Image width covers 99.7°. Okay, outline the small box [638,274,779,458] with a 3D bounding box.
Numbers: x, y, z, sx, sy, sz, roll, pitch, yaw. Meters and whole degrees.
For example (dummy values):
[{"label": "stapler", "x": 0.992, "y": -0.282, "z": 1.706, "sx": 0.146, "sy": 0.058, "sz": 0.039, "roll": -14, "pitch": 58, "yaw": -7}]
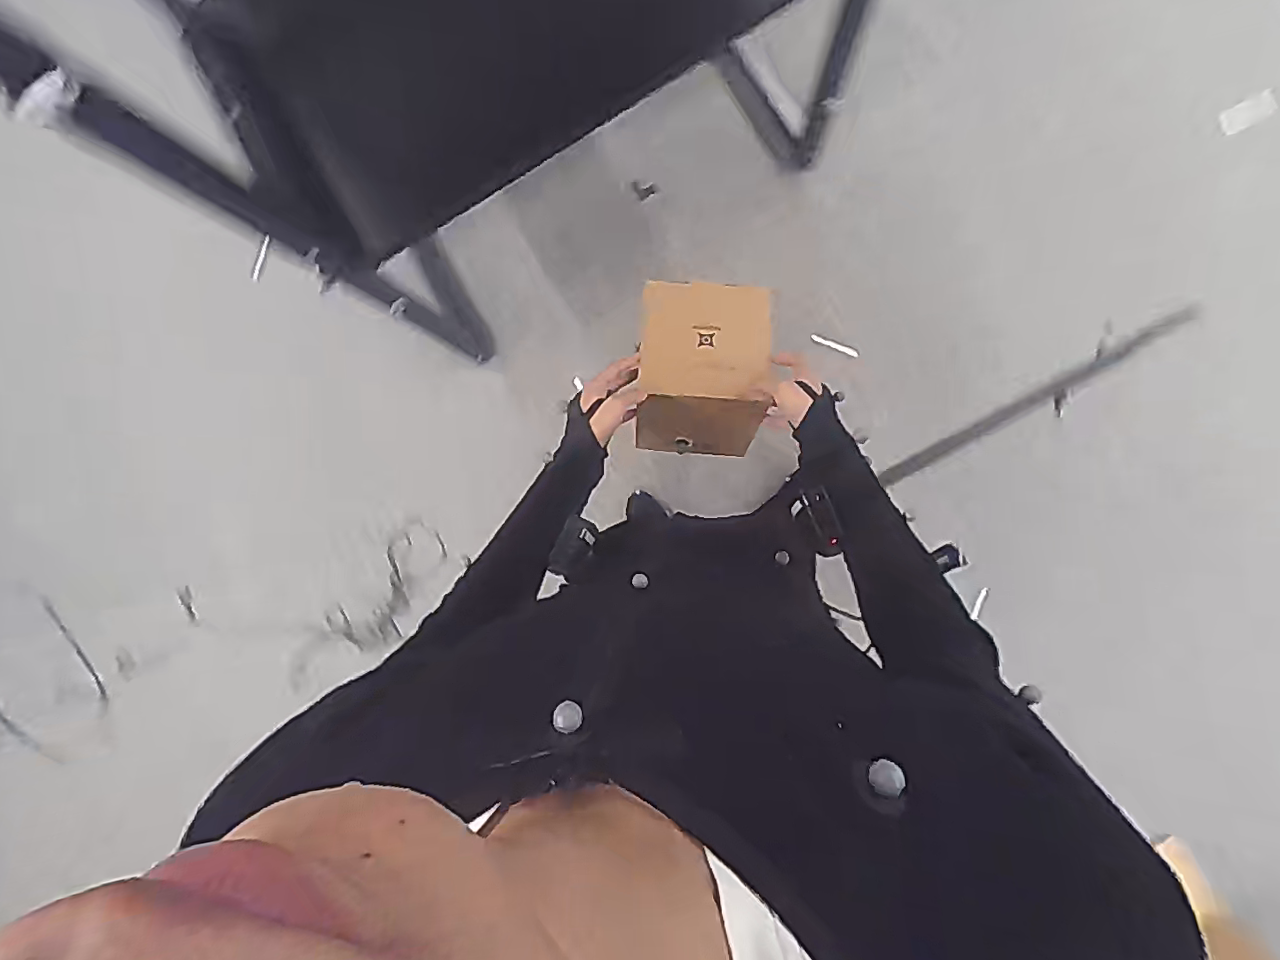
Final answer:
[{"label": "small box", "x": 0.087, "y": -0.148, "z": 0.737, "sx": 0.168, "sy": 0.176, "sz": 0.179, "roll": 5, "pitch": 69, "yaw": 1}]
